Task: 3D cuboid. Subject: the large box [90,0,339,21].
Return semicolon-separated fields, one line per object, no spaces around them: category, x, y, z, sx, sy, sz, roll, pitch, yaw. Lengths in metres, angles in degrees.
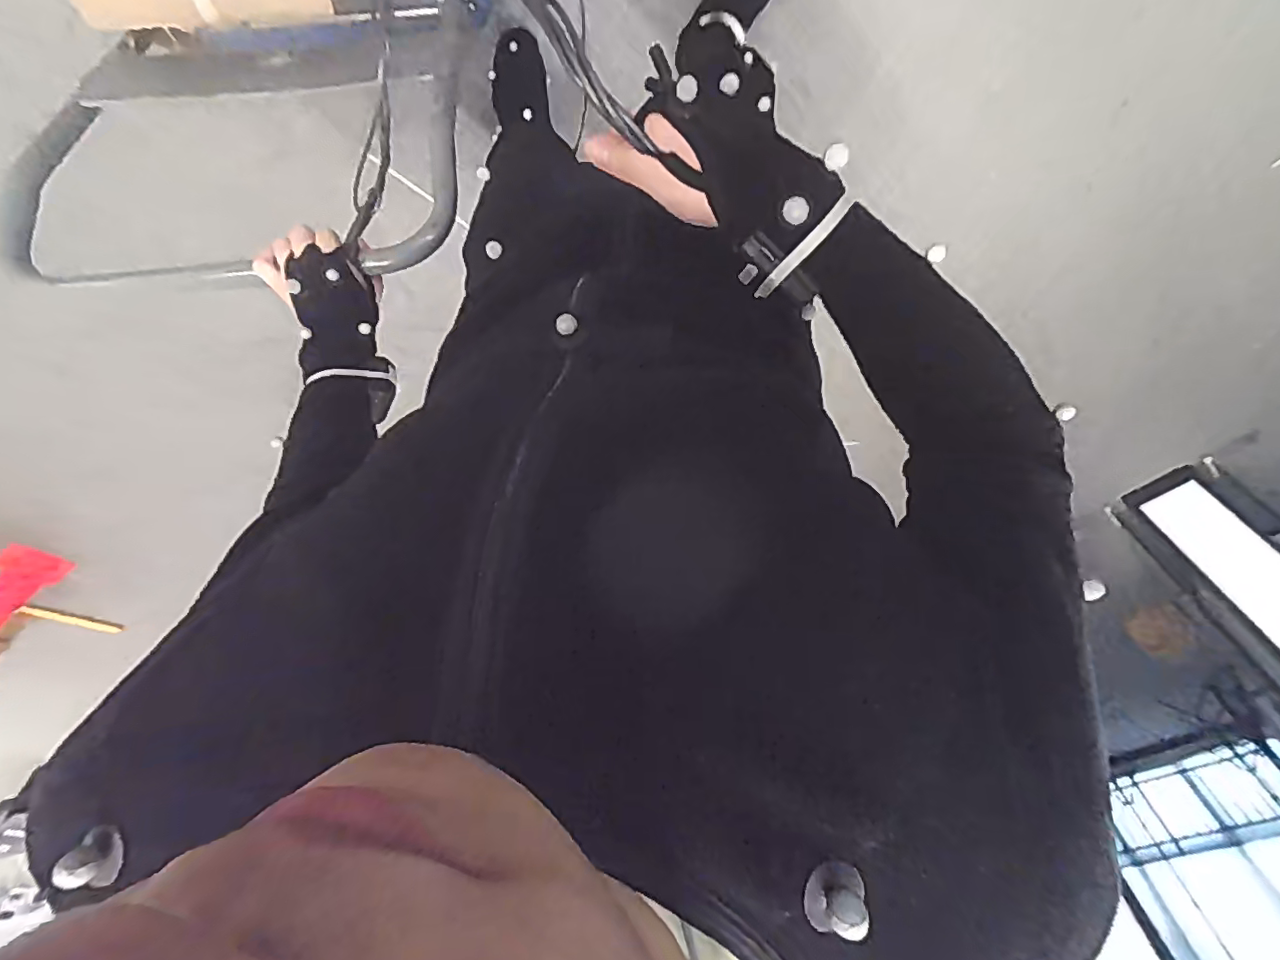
large box;-0.565;-0.844;0.633;0.320;0.320;0.408;-7;144;-3
